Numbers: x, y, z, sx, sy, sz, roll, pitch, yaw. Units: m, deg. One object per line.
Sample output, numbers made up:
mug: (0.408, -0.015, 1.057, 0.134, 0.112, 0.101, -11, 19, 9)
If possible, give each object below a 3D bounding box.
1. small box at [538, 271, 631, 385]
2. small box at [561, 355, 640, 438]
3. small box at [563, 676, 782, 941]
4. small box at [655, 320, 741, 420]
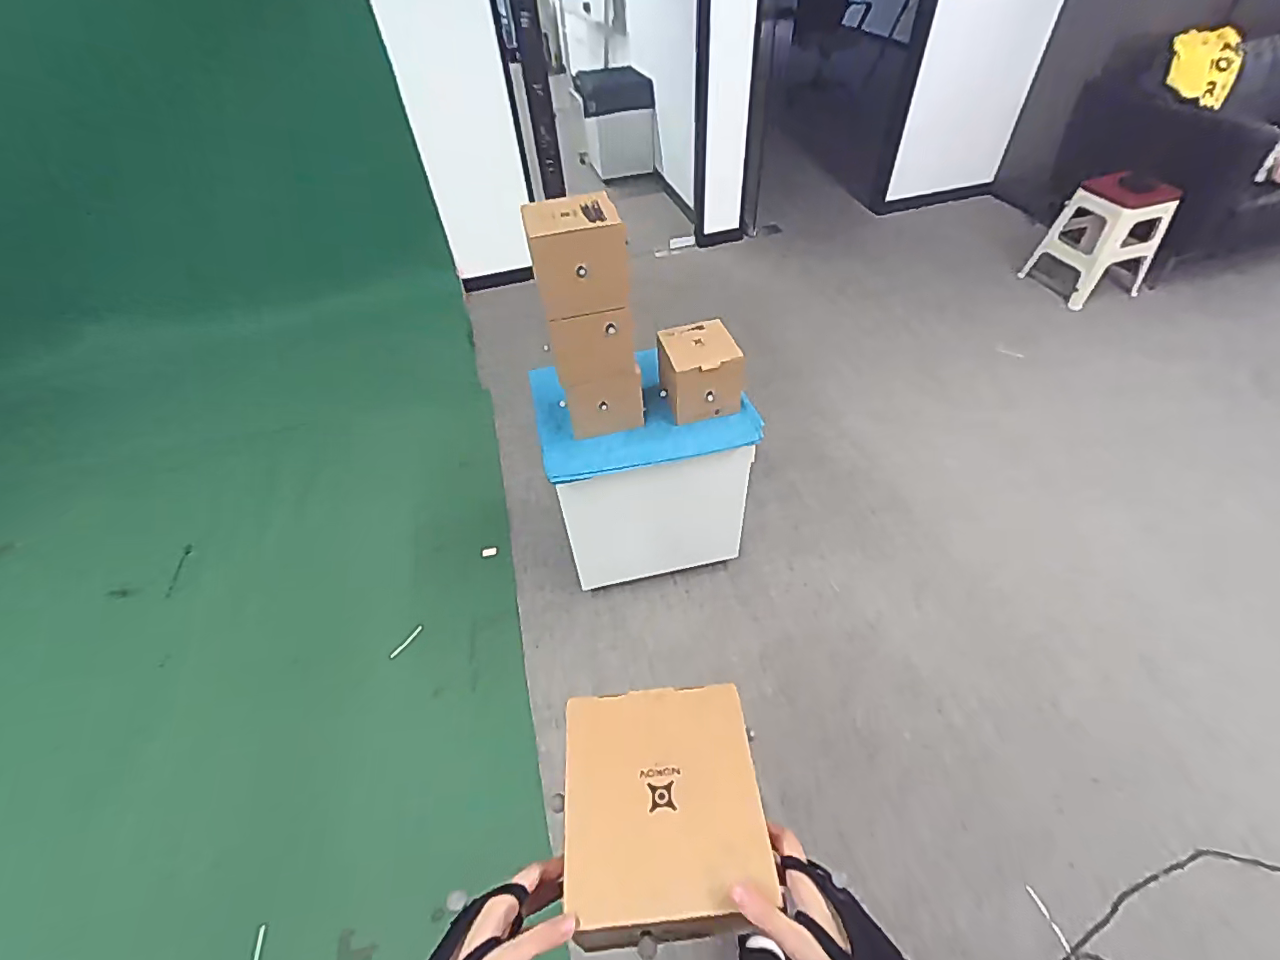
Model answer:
small box: (-0.118, -0.334, 1.191, 0.179, 0.176, 0.168, -12, 47, -7)
small box: (-0.101, -0.226, 1.314, 0.179, 0.176, 0.168, -13, 47, -7)
small box: (0.021, 0.310, 0.509, 0.168, 0.176, 0.179, -4, 44, -3)
small box: (0.139, -0.264, 1.331, 0.168, 0.176, 0.179, -12, 48, -7)
